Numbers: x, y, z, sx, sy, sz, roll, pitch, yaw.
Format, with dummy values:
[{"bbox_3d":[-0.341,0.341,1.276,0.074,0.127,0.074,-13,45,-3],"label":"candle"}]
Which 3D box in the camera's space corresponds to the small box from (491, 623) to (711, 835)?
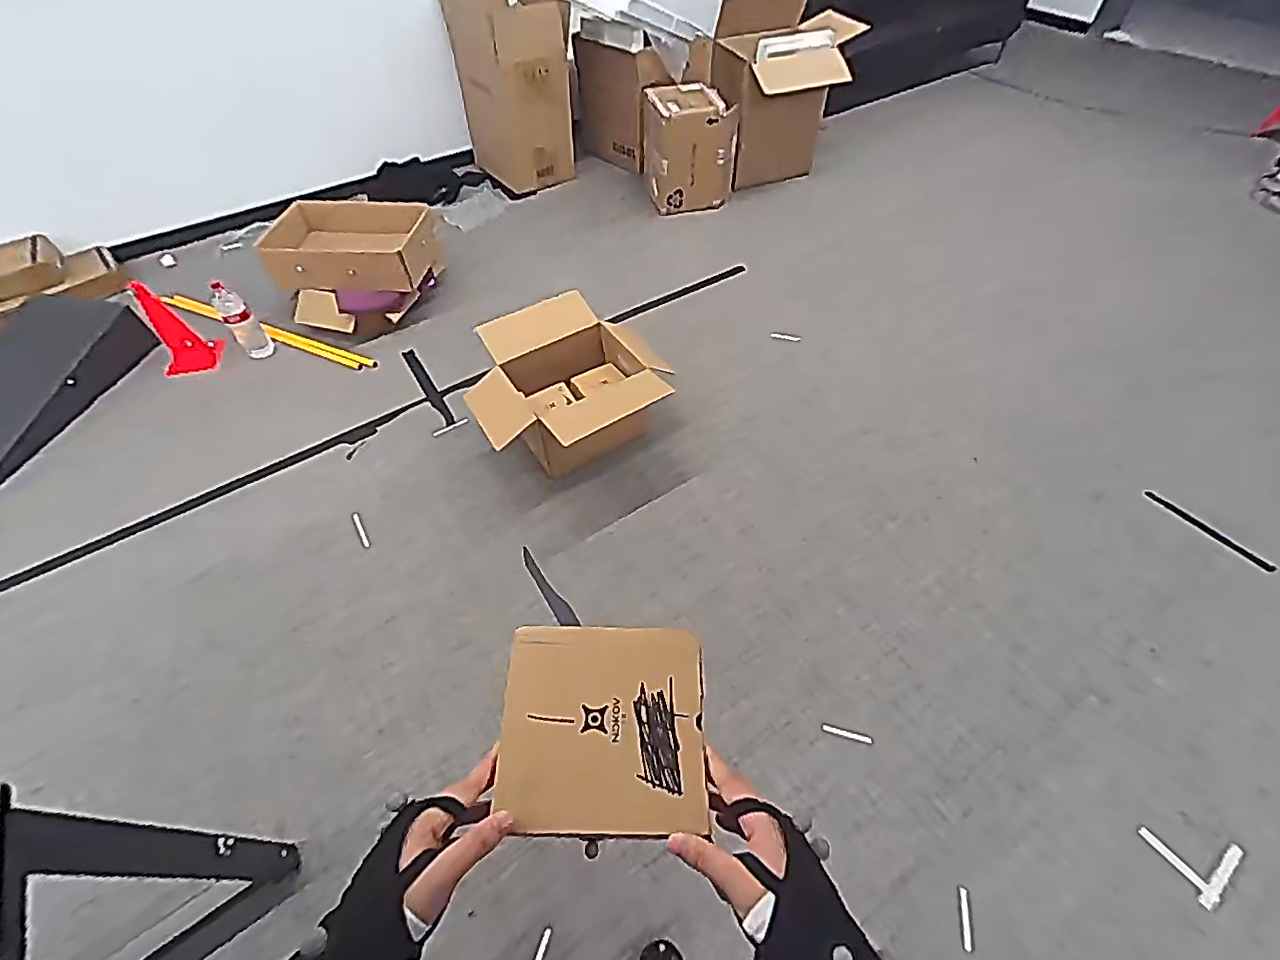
[{"bbox_3d":[-0.032,0.250,0.534,0.179,0.176,0.168,1,56,-1],"label":"small box"}]
